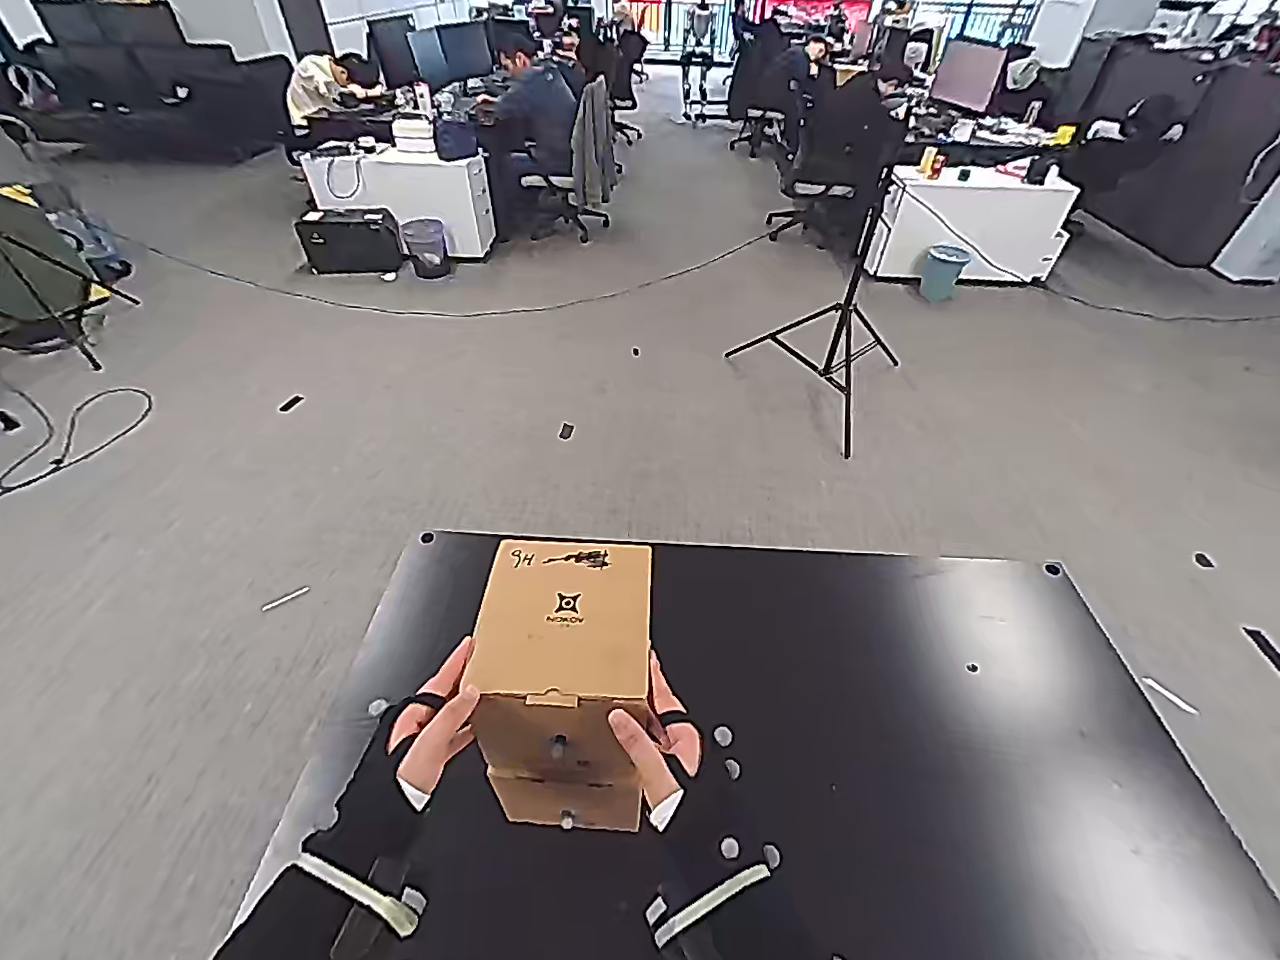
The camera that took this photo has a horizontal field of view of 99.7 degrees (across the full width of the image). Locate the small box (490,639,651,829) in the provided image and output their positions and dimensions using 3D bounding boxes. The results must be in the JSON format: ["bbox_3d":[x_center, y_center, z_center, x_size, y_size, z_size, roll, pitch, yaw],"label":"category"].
[{"bbox_3d":[-0.076,0.314,0.687,0.168,0.176,0.179,3,44,3],"label":"small box"}]

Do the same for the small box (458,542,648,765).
[{"bbox_3d":[-0.075,0.188,0.581,0.168,0.176,0.179,2,44,0],"label":"small box"}]
